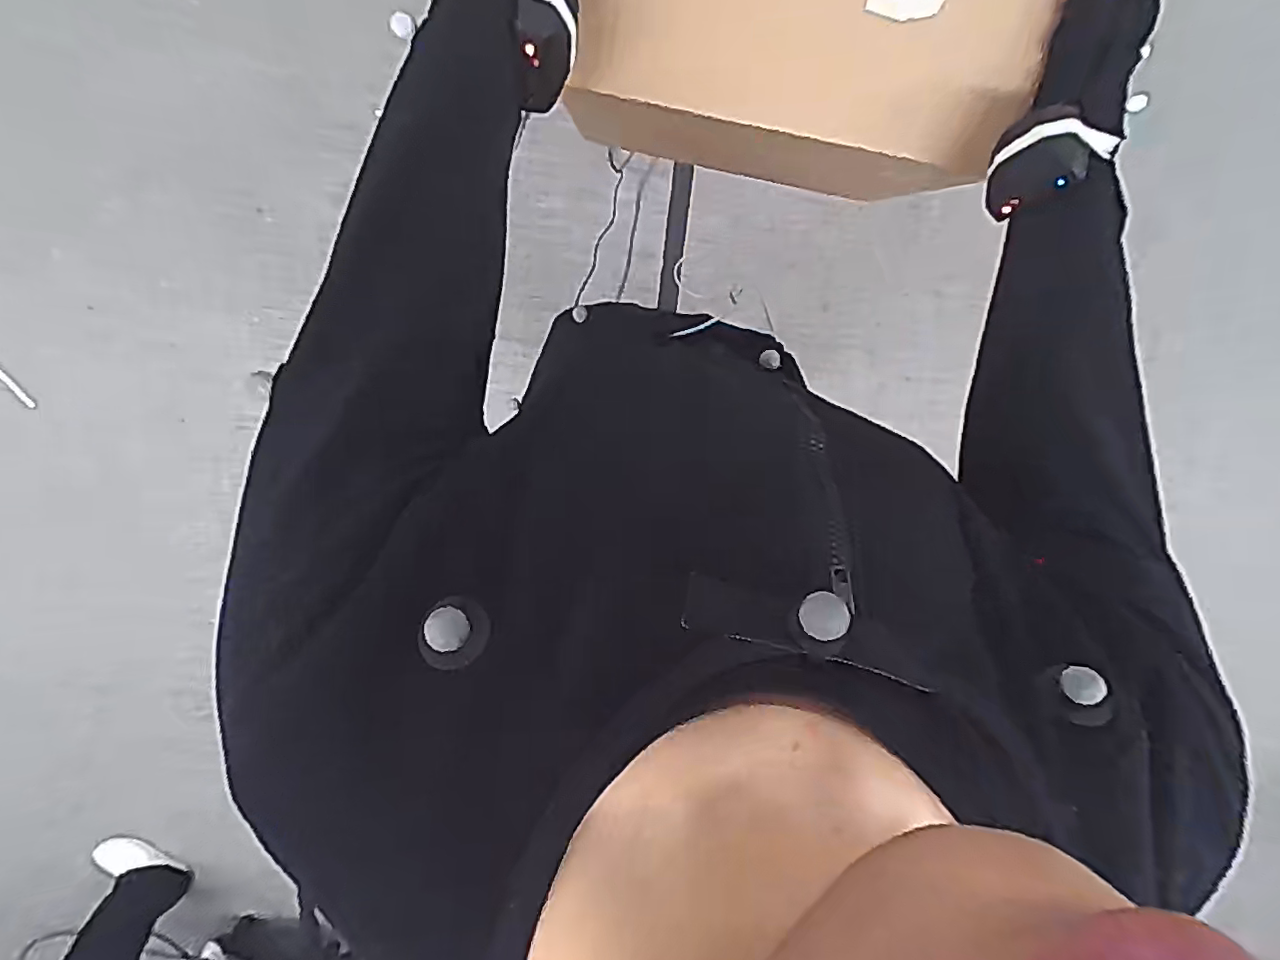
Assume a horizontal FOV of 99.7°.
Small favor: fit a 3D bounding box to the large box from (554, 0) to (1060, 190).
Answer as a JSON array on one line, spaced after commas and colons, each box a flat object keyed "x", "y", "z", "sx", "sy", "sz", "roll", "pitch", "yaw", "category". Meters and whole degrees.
[{"x": 0.143, "y": -0.505, "z": 0.539, "sx": 0.408, "sy": 0.320, "sz": 0.320, "roll": 9, "pitch": 115, "yaw": -4, "category": "large box"}]
